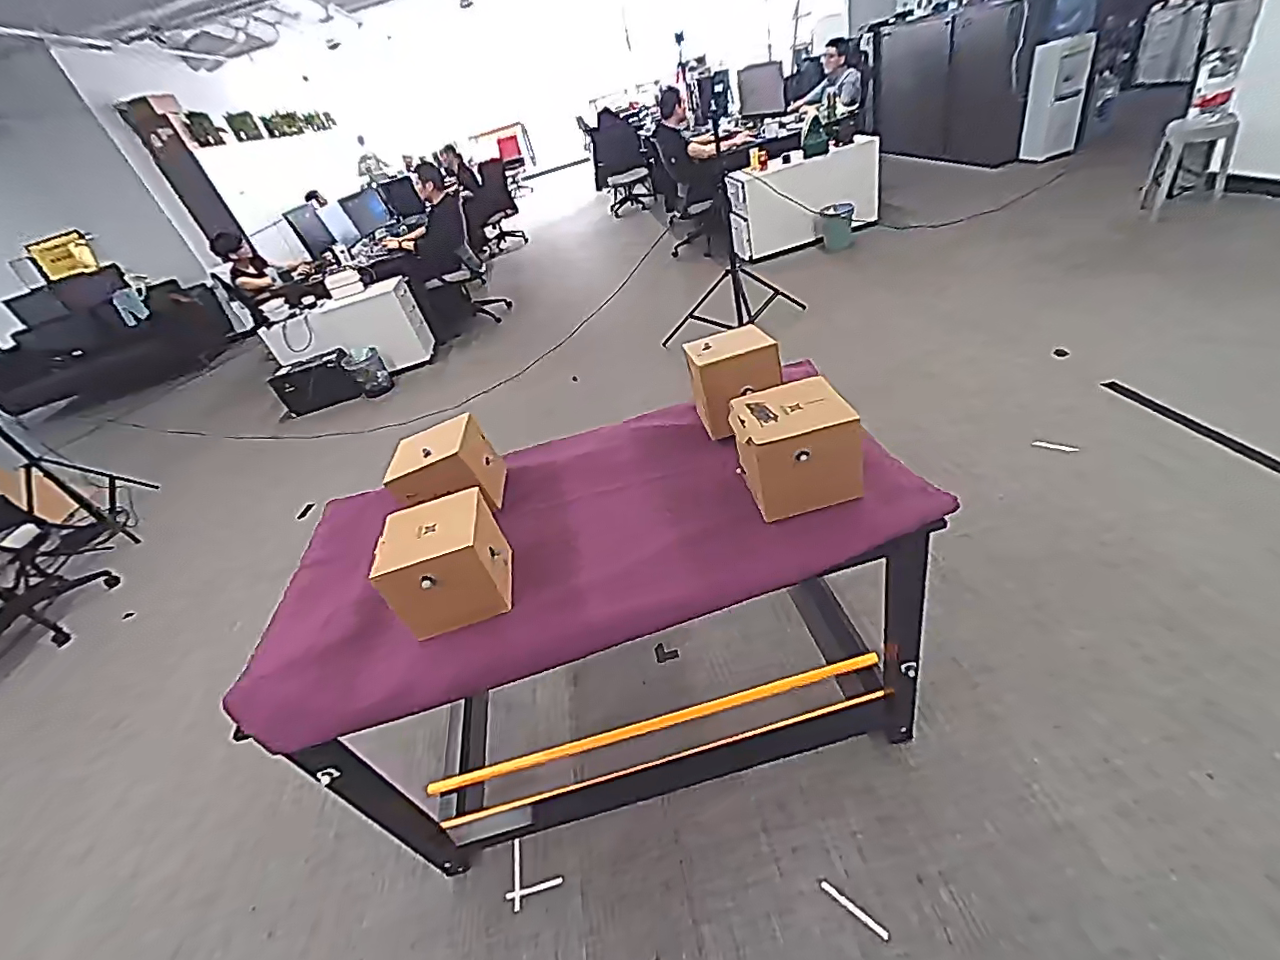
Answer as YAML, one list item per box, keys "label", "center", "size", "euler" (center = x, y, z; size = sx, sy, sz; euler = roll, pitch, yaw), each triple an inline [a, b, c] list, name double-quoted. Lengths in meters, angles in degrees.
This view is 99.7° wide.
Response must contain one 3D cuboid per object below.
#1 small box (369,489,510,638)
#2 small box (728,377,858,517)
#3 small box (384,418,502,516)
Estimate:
- label: "small box"
  center: [-0.340, 0.148, 0.959]
  size: [0.179, 0.176, 0.168]
  euler: [-18, 36, -1]
- label: "small box"
  center: [0.273, -0.056, 0.966]
  size: [0.179, 0.176, 0.168]
  euler: [-15, 35, 2]
- label: "small box"
  center: [-0.413, -0.010, 1.173]
  size: [0.179, 0.168, 0.176]
  euler: [-21, 35, 7]
